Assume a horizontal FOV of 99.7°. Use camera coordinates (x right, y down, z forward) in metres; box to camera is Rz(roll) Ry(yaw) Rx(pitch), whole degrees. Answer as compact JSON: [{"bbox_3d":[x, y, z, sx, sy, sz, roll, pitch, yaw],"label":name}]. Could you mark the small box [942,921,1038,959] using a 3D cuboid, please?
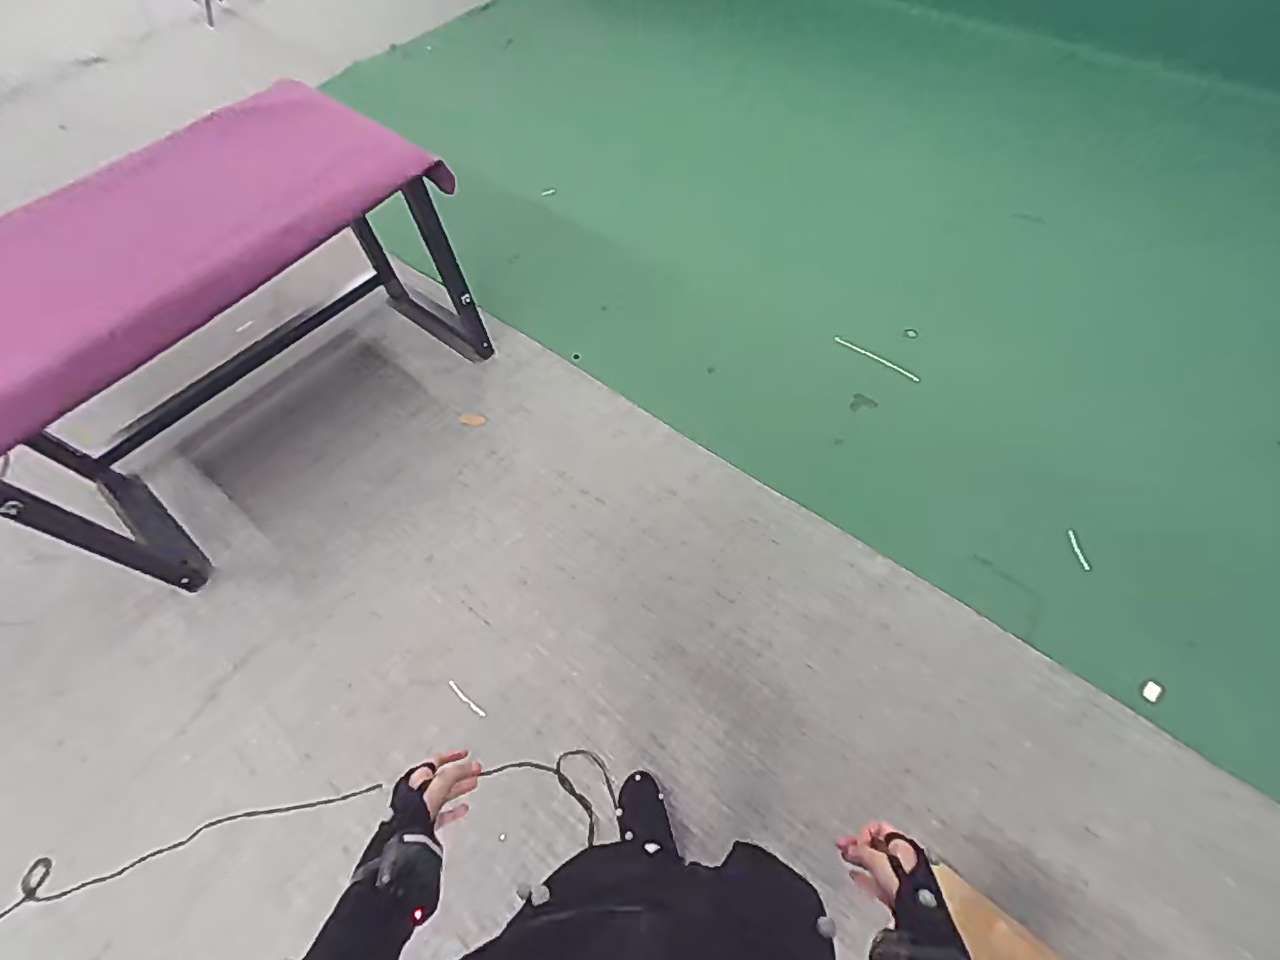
[{"bbox_3d":[0.671,0.956,0.989,0.179,0.176,0.168,39,71,22],"label":"small box"}]
